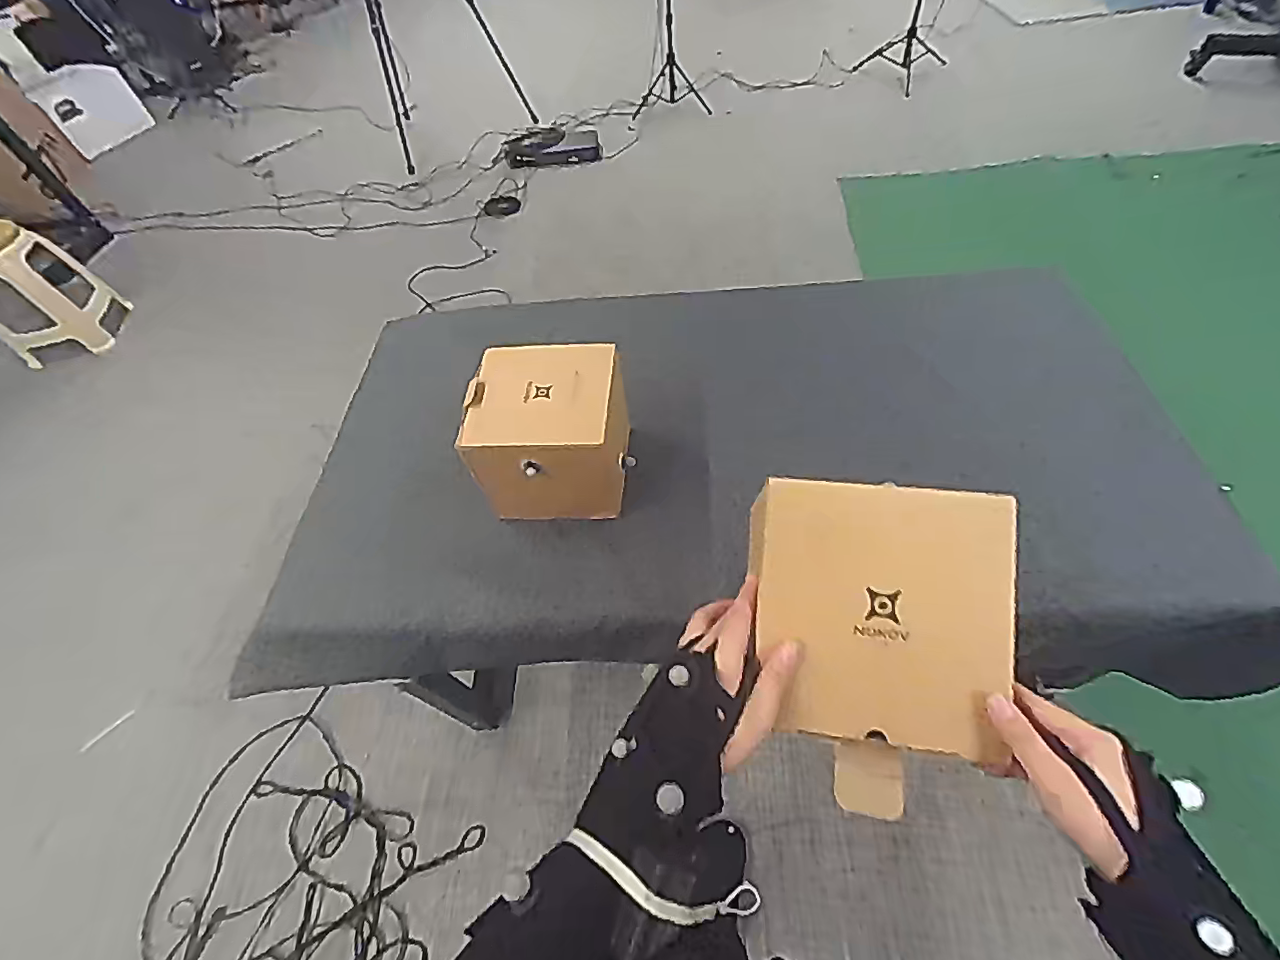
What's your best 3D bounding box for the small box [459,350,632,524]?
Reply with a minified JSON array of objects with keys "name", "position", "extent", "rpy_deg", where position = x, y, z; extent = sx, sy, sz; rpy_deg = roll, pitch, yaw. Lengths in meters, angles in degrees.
[{"name":"small box","position":[-0.111,-0.052,0.718],"extent":[0.179,0.176,0.168],"rpy_deg":[0,56,6]}]
